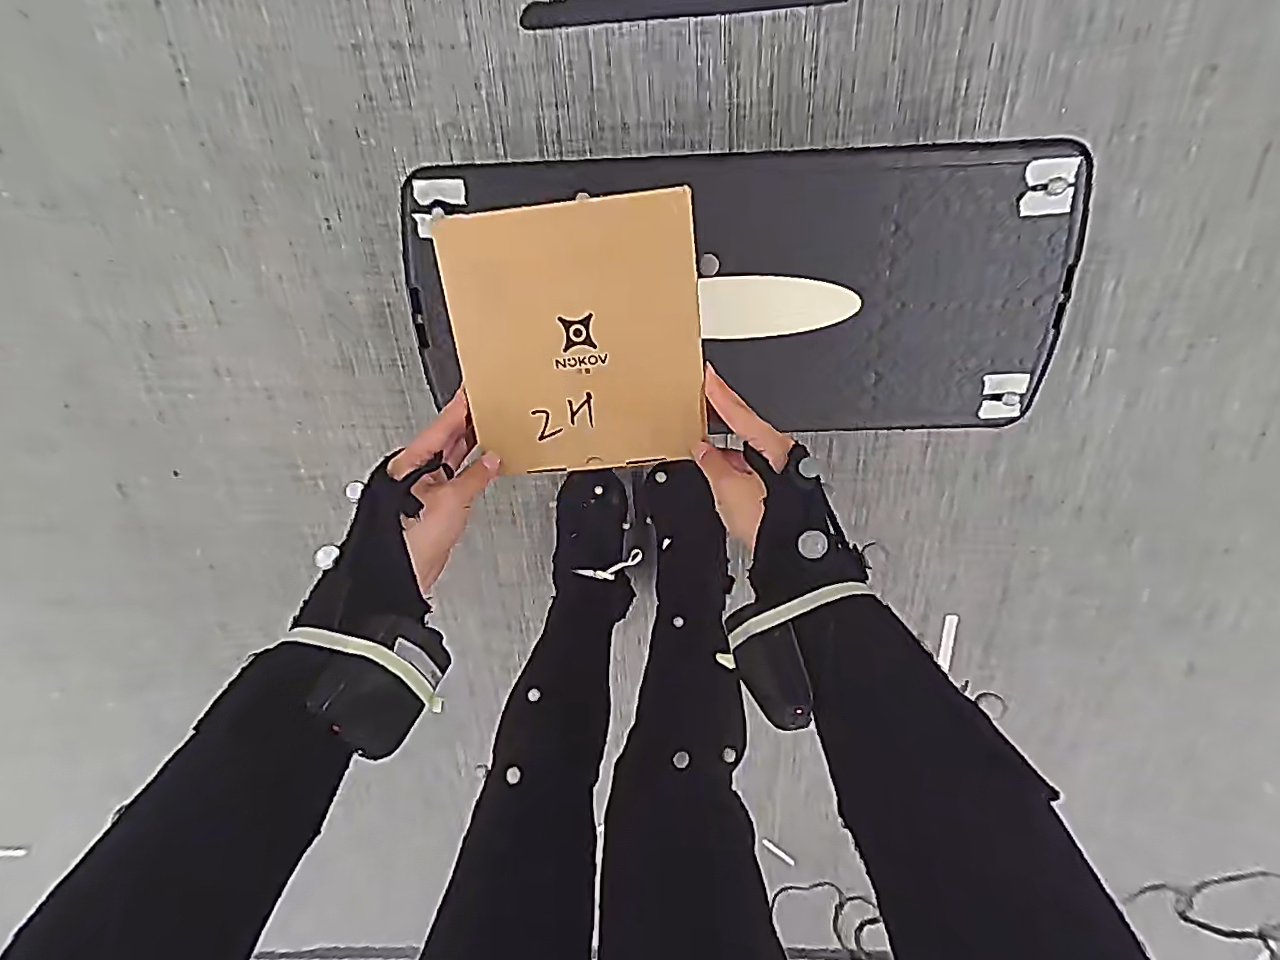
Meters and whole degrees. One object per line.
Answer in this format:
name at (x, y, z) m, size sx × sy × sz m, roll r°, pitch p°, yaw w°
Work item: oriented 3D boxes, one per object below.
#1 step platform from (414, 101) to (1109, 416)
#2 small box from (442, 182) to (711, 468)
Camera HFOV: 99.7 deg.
step platform at (0.111, -0.233, 0.616) m, size 0.684 × 0.204 × 0.286 m, roll -2°, pitch 113°, yaw 3°
small box at (-0.035, -0.122, 0.437) m, size 0.168 × 0.176 × 0.179 m, roll -4°, pitch 111°, yaw 4°
